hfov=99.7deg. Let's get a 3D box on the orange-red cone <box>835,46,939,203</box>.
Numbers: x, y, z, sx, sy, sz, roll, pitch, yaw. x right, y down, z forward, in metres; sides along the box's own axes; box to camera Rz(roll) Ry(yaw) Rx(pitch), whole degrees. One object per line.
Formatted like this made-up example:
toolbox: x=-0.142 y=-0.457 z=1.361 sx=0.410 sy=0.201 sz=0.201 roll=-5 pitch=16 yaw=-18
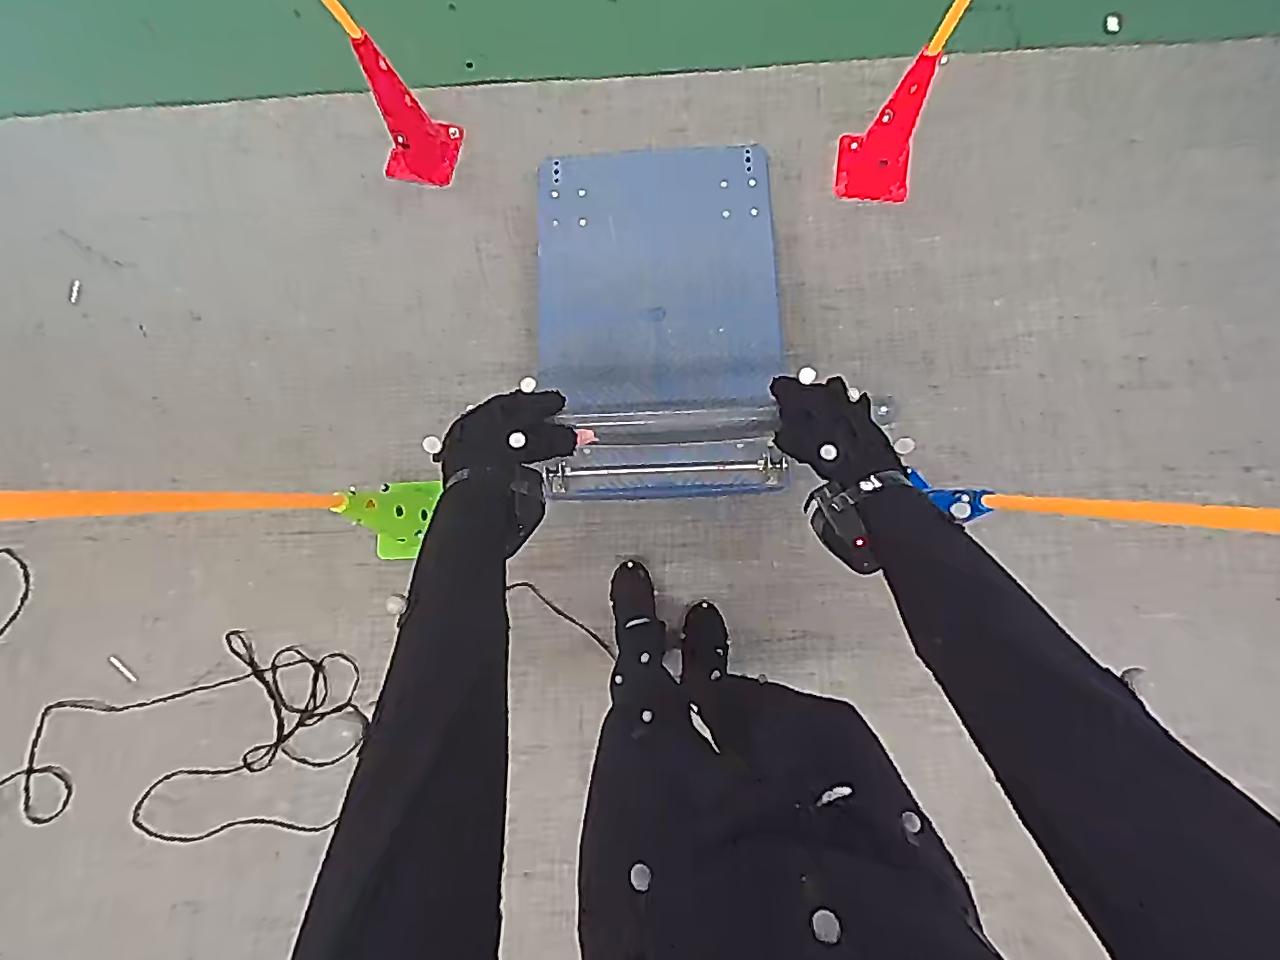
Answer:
orange-red cone: x=0.648 y=-0.902 z=1.353 sx=0.198 sy=0.360 sz=0.199 roll=9 pitch=82 yaw=5
